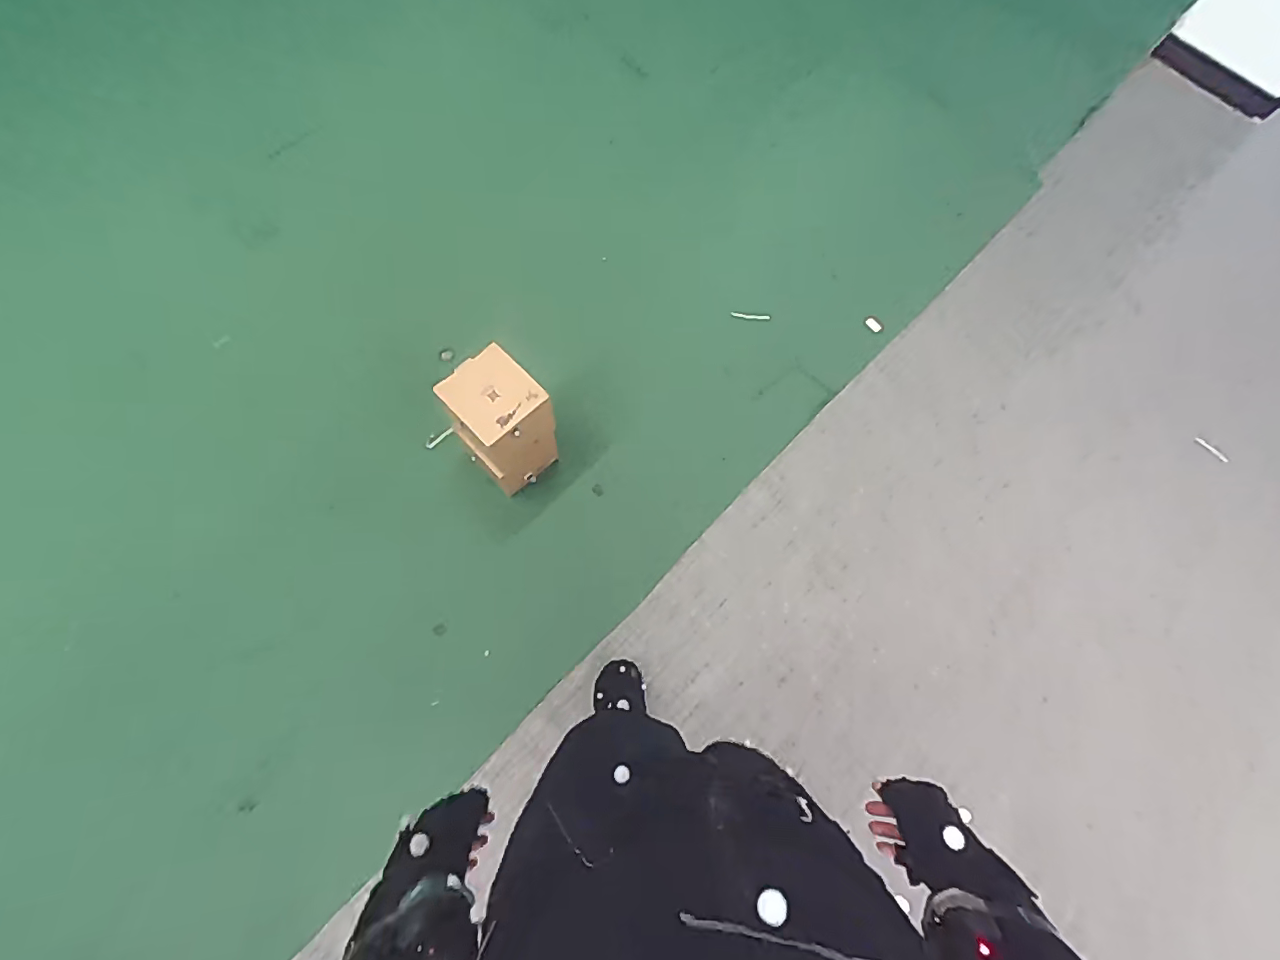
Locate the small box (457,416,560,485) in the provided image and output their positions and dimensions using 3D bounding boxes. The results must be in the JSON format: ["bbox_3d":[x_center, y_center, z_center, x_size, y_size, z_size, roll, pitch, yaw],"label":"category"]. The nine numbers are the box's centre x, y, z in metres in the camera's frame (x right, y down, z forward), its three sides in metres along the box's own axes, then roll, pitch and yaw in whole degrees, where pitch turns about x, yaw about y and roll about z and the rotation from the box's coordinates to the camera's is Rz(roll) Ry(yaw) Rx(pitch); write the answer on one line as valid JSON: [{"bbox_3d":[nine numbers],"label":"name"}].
[{"bbox_3d":[-0.315,-0.112,1.329,0.168,0.176,0.179,-43,82,-14],"label":"small box"}]

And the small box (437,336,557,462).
[{"bbox_3d":[-0.301,-0.168,1.175,0.168,0.176,0.179,-43,80,-14],"label":"small box"}]
